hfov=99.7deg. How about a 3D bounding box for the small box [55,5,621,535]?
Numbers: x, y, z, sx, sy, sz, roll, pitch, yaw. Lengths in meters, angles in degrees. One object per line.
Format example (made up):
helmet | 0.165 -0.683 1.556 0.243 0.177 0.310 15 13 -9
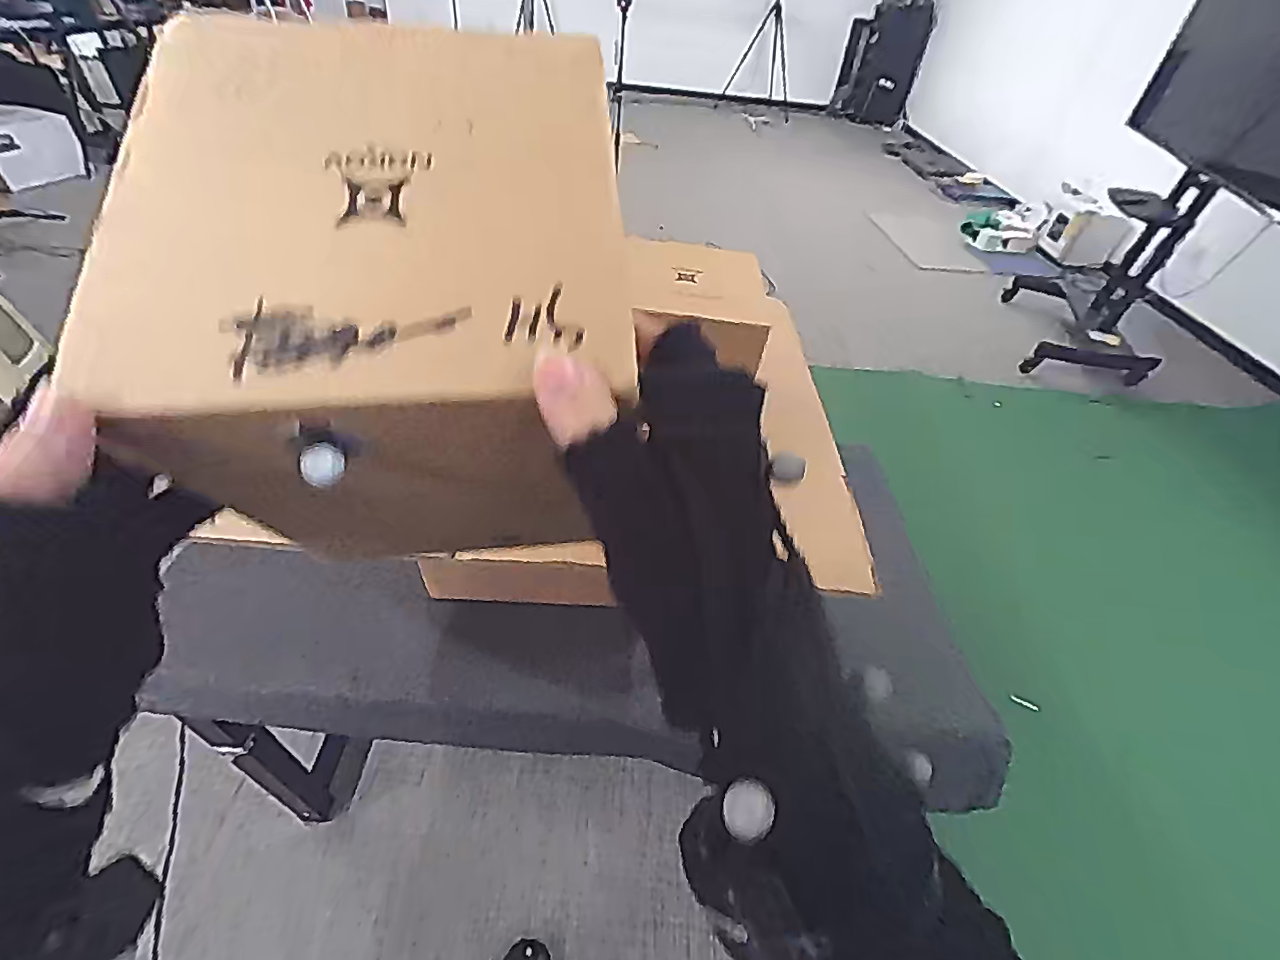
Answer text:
small box | -0.100 -0.084 0.268 0.168 0.176 0.179 -4 68 -5
